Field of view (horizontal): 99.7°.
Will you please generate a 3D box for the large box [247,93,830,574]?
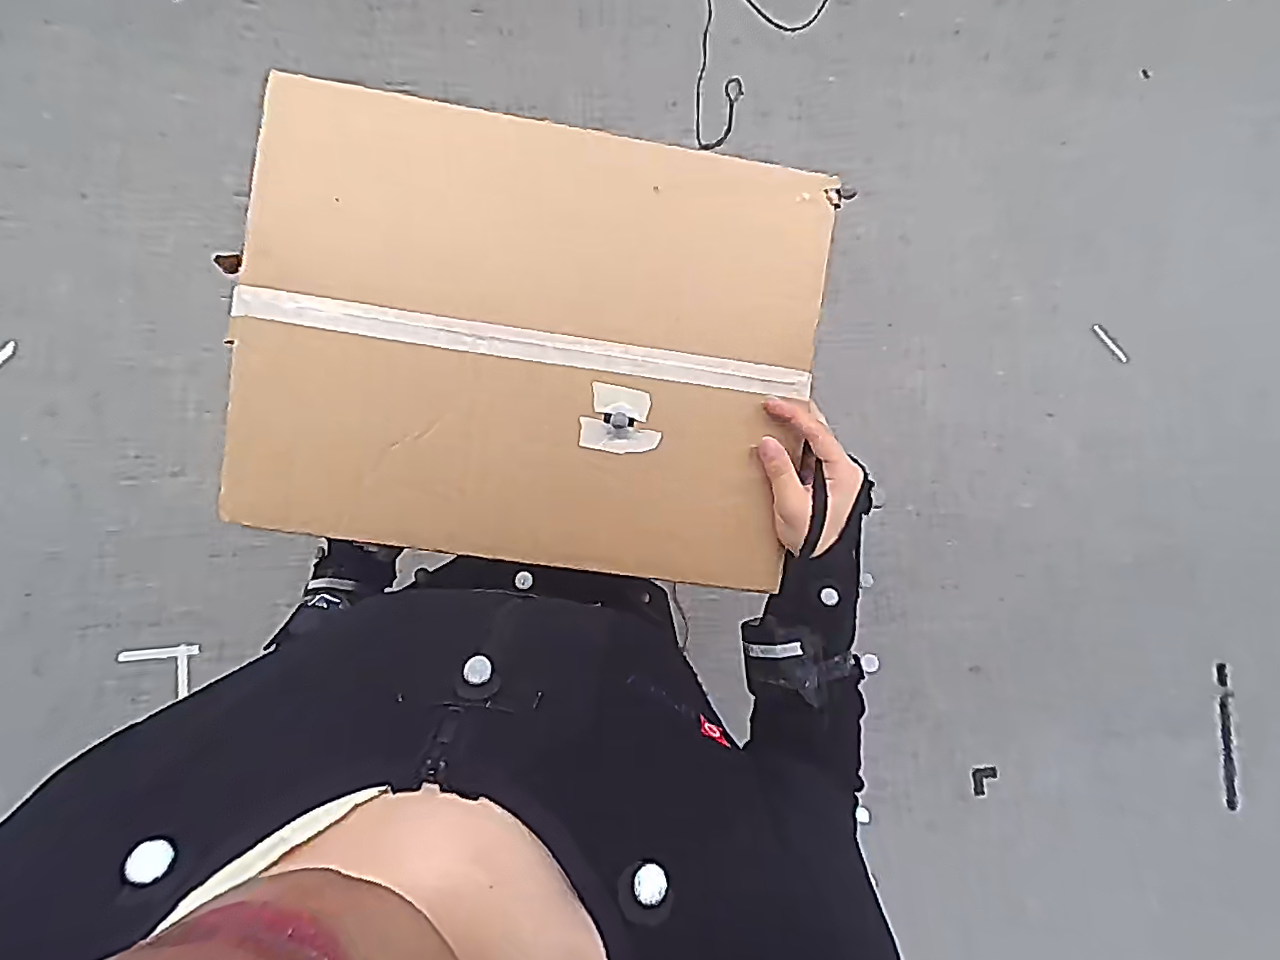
[{"bbox_3d":[-0.082,-0.105,0.545,0.408,0.320,0.320,7,93,-5],"label":"large box"}]
